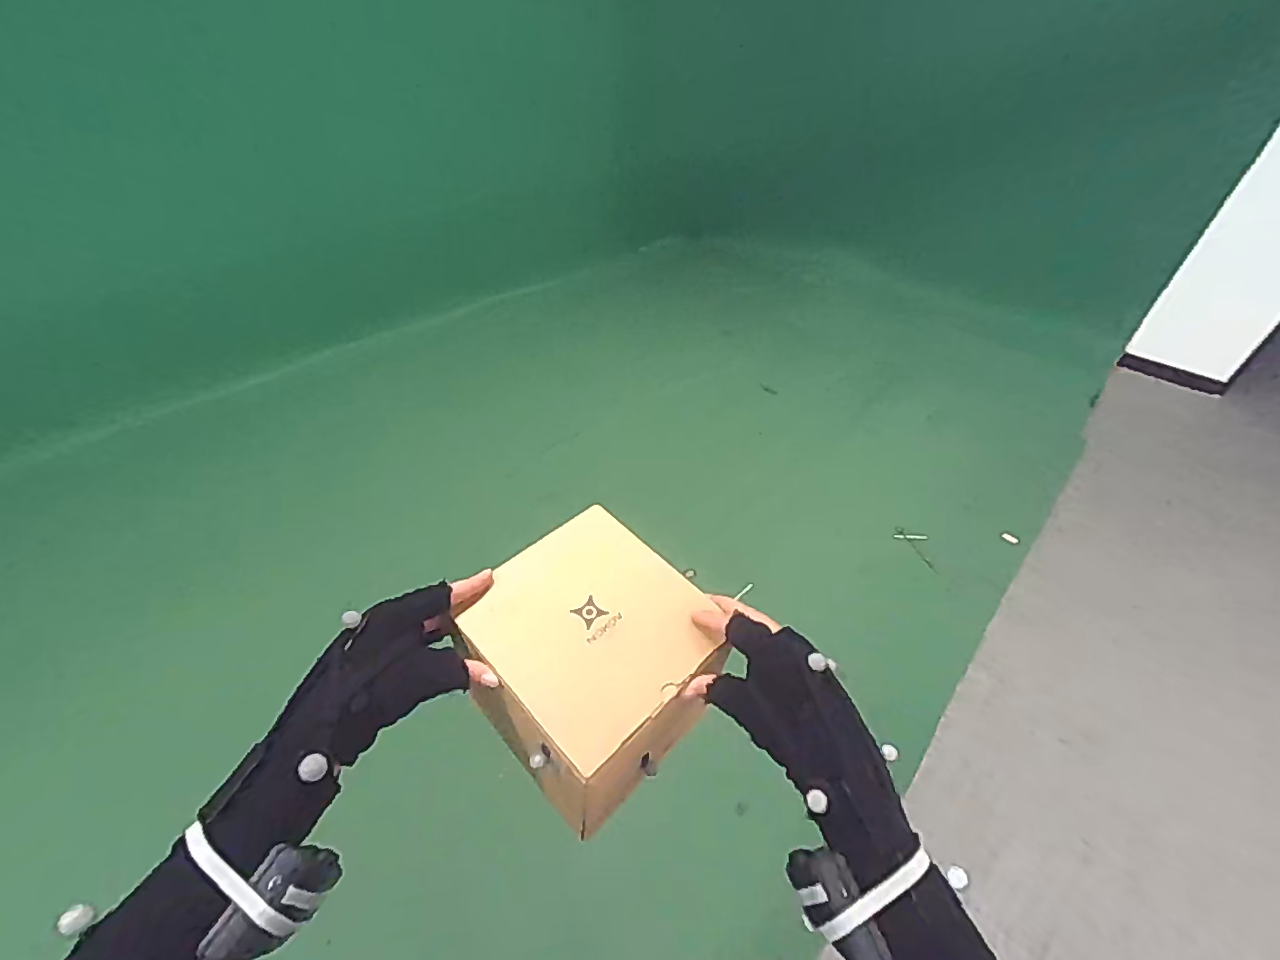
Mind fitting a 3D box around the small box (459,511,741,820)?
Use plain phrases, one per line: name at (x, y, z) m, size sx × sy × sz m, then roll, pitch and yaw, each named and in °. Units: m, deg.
small box at (-0.041, 0.168, 0.496) m, size 0.179 × 0.176 × 0.168 m, roll 39°, pitch 52°, yaw 26°
